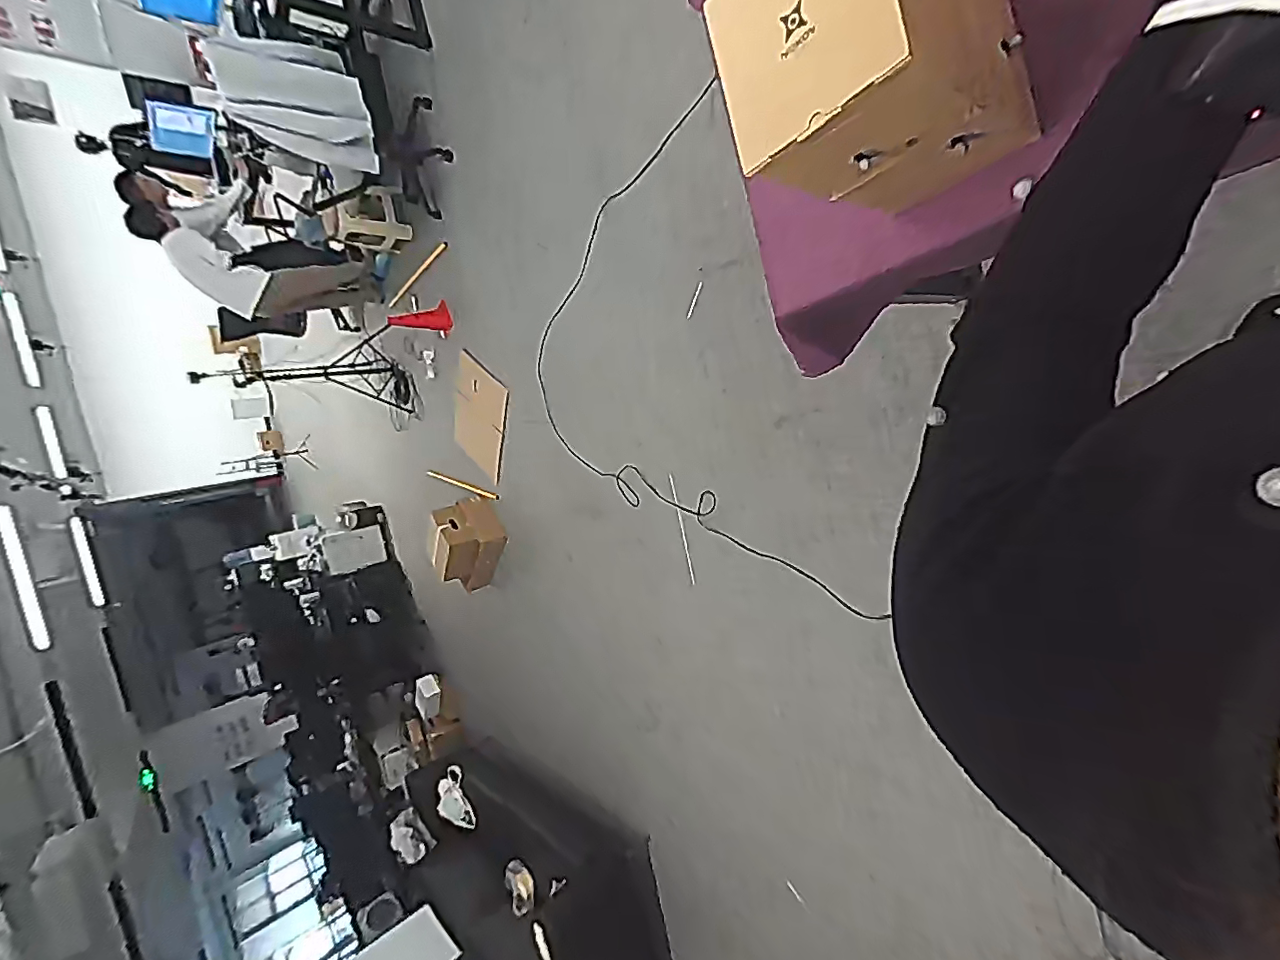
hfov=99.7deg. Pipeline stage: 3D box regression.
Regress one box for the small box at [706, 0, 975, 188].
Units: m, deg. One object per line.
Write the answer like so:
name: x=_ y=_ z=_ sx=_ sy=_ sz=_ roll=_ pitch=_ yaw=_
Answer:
small box: x=0.196 y=-0.417 z=0.526 sx=0.168 sy=0.176 sz=0.179 roll=-12 pitch=94 yaw=50

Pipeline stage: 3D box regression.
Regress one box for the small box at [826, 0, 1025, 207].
small box: x=0.320 y=-0.446 z=0.629 sx=0.179 sy=0.176 sz=0.168 roll=-12 pitch=92 yaw=50
